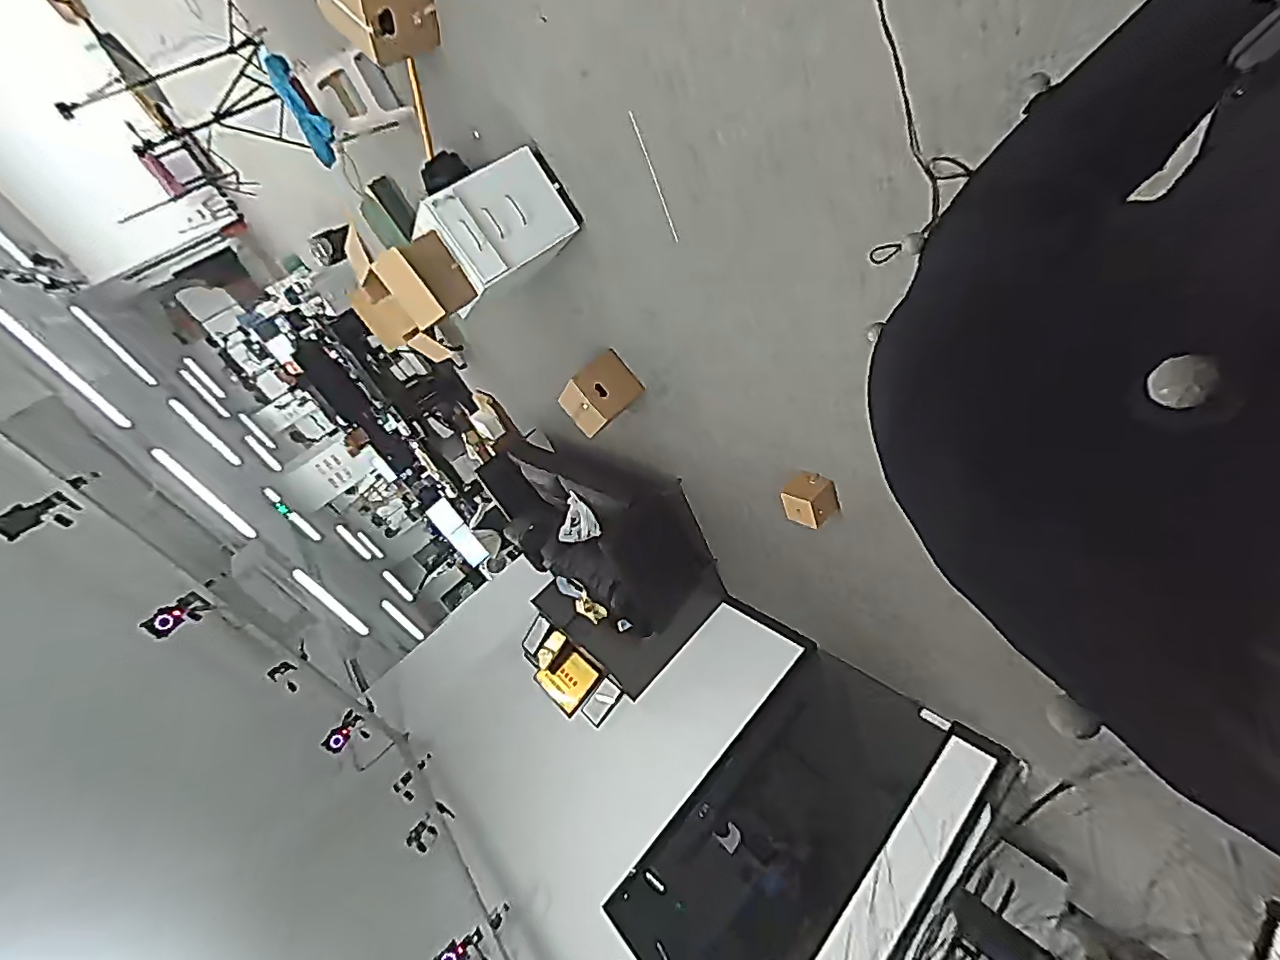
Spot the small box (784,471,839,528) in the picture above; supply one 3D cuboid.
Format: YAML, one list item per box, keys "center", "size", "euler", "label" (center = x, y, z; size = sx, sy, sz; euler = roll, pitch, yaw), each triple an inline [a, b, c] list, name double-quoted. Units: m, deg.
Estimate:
- center: [0.797, 0.087, 2.500]
  size: [0.168, 0.176, 0.179]
  euler: [21, 146, 48]
  label: "small box"
